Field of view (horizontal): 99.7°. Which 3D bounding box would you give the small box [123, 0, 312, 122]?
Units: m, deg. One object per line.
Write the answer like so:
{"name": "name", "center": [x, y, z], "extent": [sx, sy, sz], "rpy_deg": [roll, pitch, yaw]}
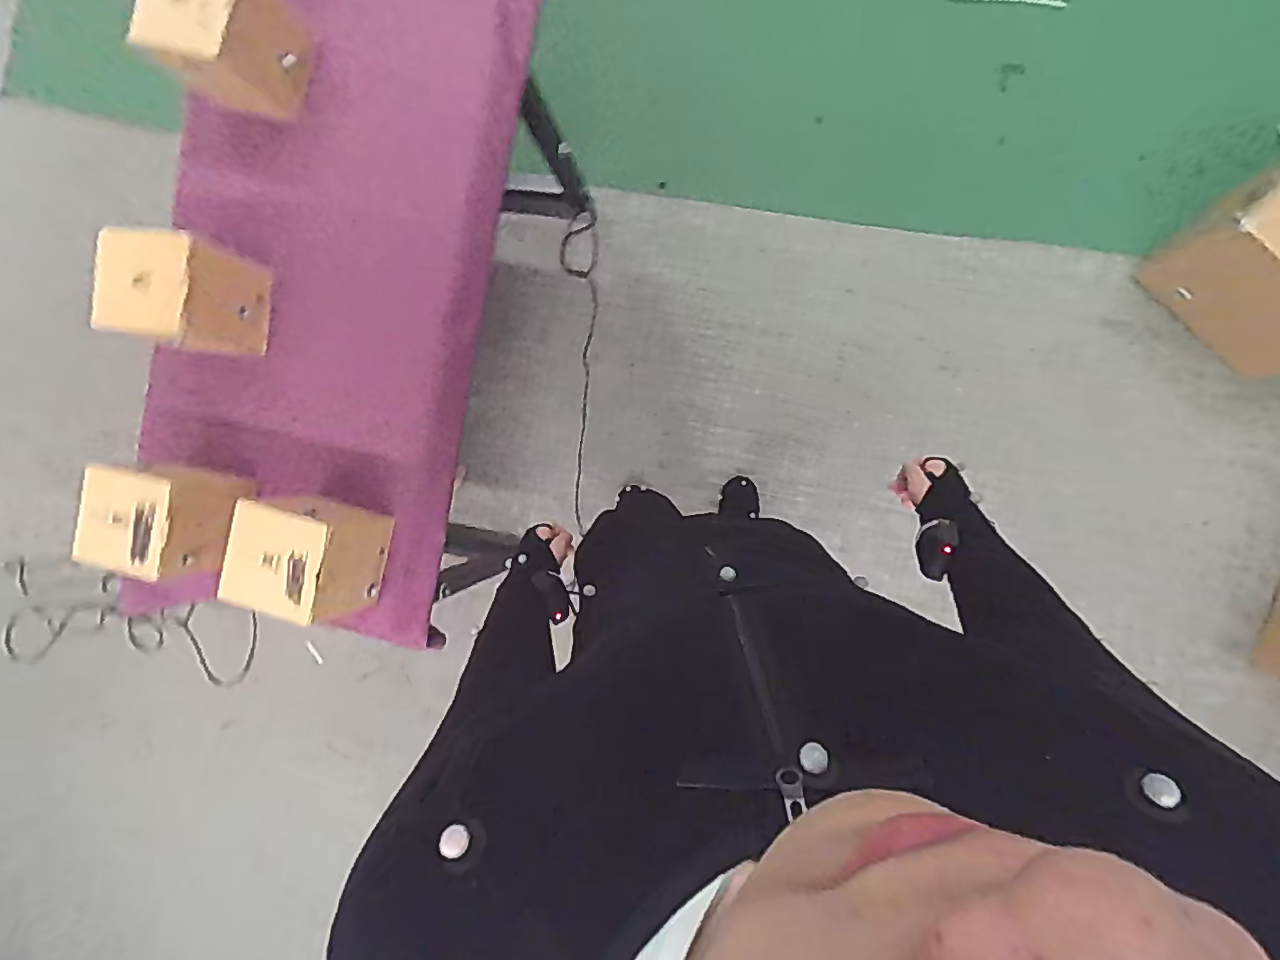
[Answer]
{"name": "small box", "center": [-0.722, -0.763, 0.939], "extent": [0.179, 0.176, 0.168], "rpy_deg": [17, 94, 7]}

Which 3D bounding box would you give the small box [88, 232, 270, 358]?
{"name": "small box", "center": [-0.809, -0.320, 0.961], "extent": [0.179, 0.176, 0.168], "rpy_deg": [6, 91, 7]}

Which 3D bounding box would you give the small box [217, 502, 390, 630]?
{"name": "small box", "center": [-0.564, 0.136, 0.927], "extent": [0.179, 0.176, 0.168], "rpy_deg": [14, 92, 10]}
